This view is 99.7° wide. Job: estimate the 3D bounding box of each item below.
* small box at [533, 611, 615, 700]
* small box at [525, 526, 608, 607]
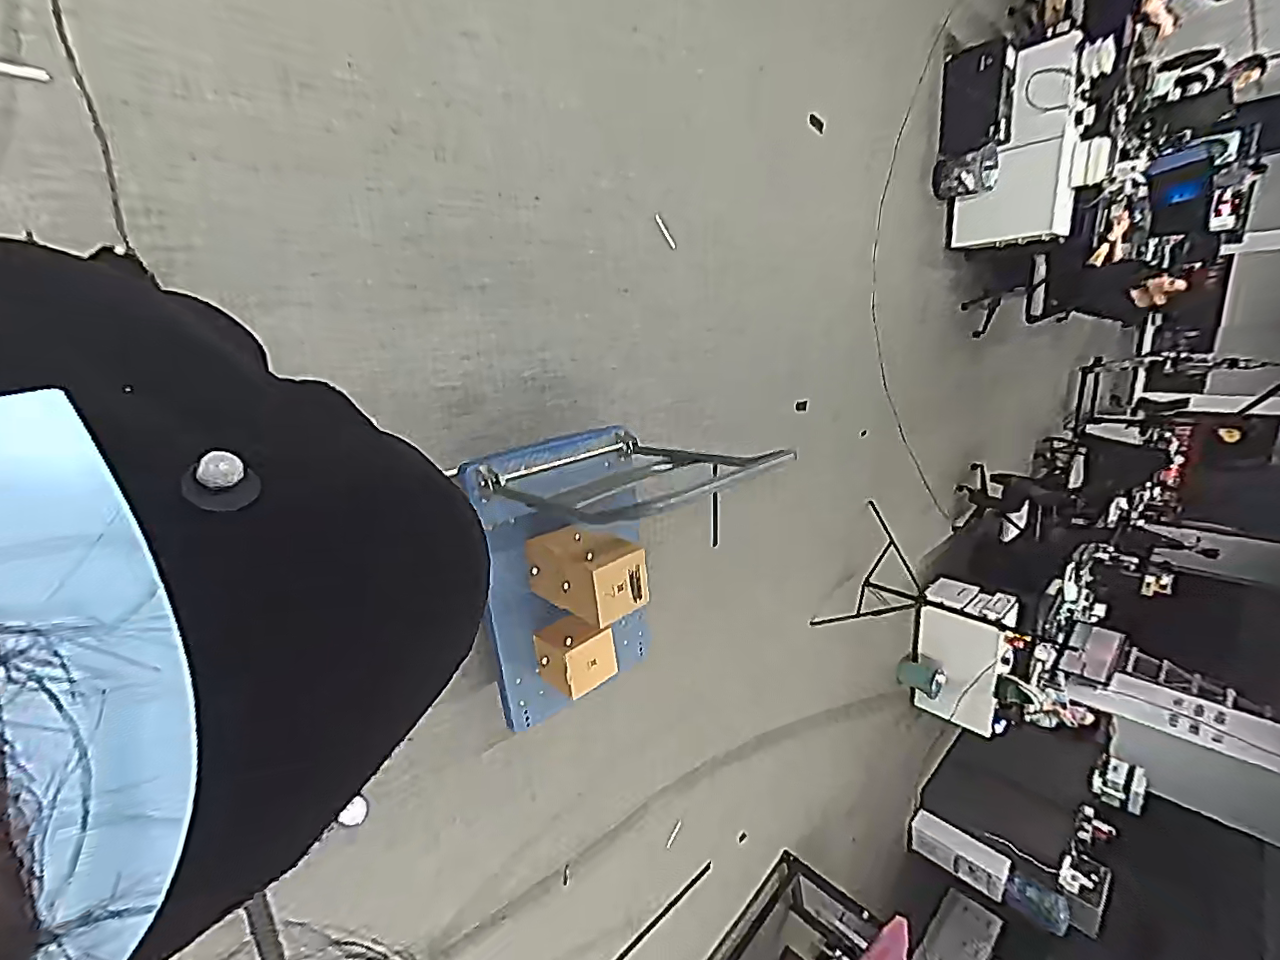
[{"bbox_3d":[-0.202,0.528,1.655,0.179,0.176,0.168,-22,113,-38],"label":"small box"},{"bbox_3d":[-0.214,0.243,1.581,0.179,0.176,0.168,-14,107,-40],"label":"small box"}]
